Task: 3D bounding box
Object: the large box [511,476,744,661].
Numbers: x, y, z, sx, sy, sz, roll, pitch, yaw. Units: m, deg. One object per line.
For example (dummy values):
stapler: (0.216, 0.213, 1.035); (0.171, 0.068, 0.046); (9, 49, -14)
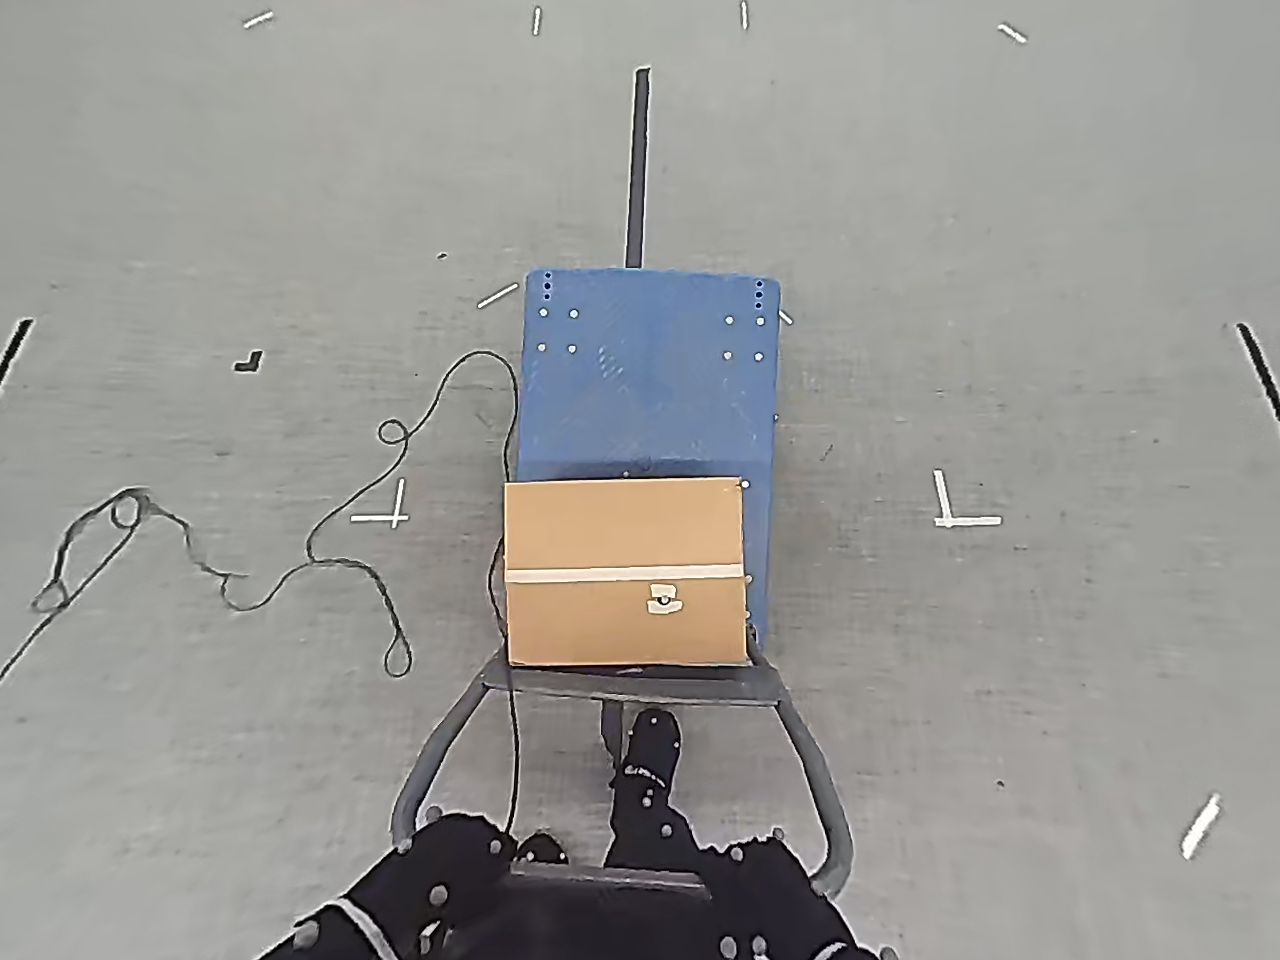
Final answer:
large box: (-0.024, 0.156, 1.087); (0.408, 0.320, 0.320); (-1, 90, 0)
